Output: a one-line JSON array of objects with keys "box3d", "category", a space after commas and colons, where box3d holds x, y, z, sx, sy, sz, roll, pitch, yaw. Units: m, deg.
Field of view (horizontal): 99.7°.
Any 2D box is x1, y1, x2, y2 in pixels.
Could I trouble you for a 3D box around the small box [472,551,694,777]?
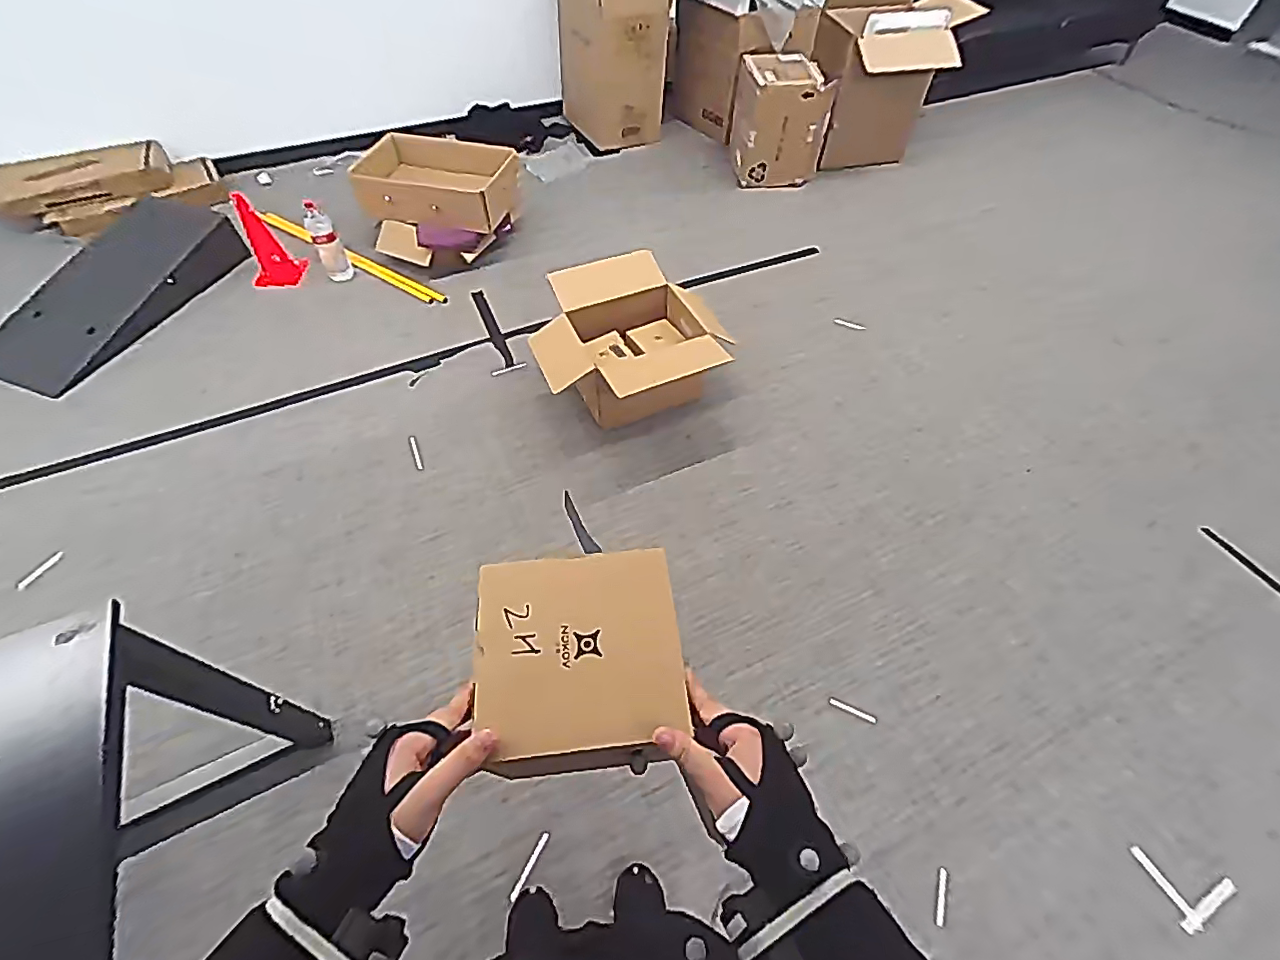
[{"box3d": [-0.053, 0.185, 0.528, 0.179, 0.176, 0.168, -6, 58, -4], "category": "small box"}]
